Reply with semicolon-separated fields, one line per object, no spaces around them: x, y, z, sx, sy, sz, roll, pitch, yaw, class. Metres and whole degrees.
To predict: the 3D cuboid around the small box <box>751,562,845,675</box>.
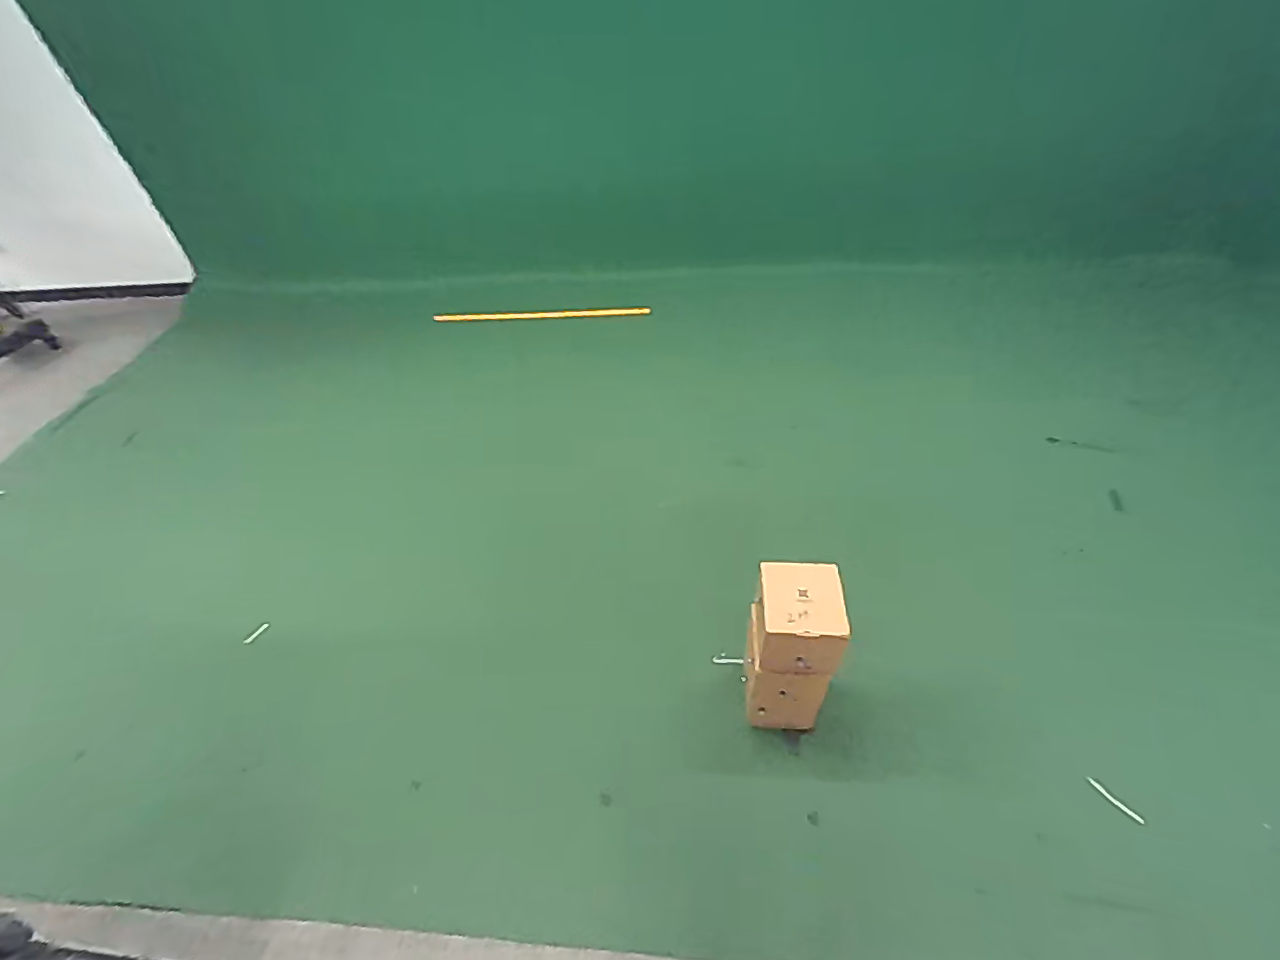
0.336;0.304;1.189;0.168;0.176;0.179;1;46;6;small box

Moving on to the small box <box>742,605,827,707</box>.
0.338;0.423;1.304;0.168;0.176;0.179;1;46;5;small box
